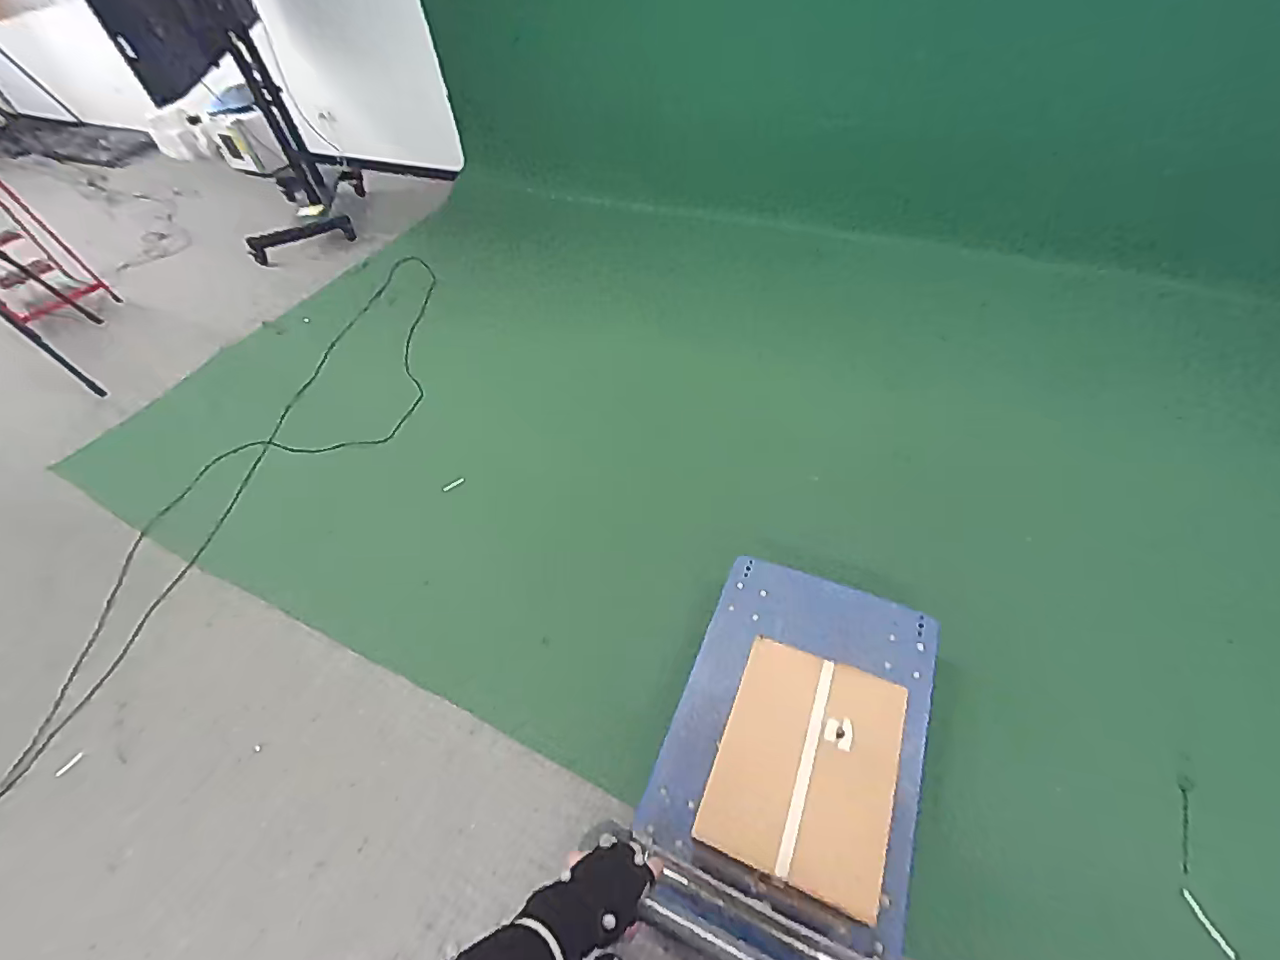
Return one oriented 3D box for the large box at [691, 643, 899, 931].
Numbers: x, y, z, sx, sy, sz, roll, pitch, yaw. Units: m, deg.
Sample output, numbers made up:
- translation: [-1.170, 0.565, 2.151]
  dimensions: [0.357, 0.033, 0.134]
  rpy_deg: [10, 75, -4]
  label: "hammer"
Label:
- translation: [0.319, 0.632, 1.133]
  dimensions: [0.320, 0.320, 0.408]
  rpy_deg: [16, 53, 19]
  label: "large box"
